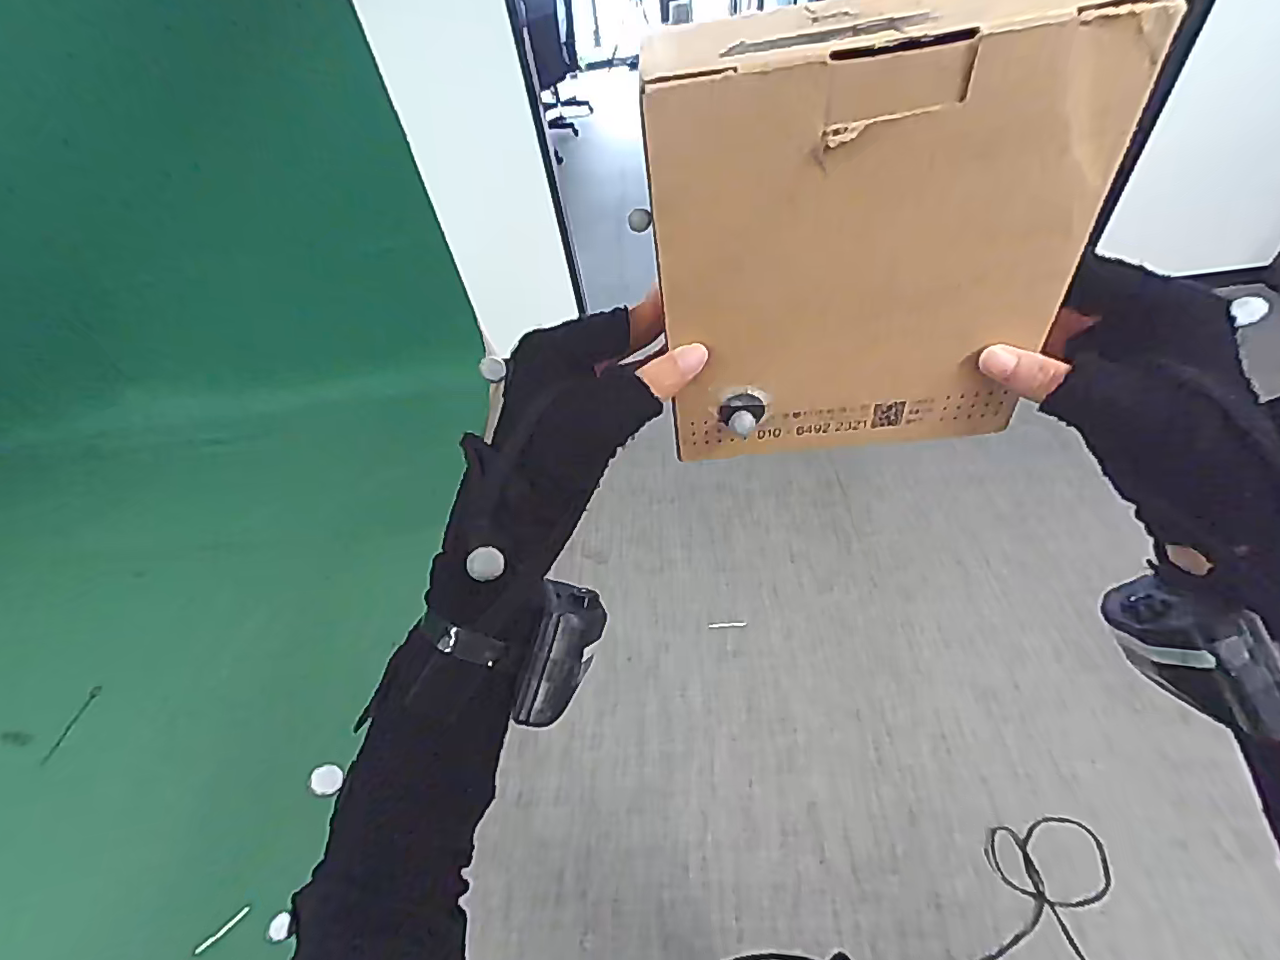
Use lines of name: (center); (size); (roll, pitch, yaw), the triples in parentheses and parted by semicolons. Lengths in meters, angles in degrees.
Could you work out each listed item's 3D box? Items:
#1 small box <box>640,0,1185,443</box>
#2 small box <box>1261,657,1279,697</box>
small box: (0.093, -0.131, 0.280); (0.168, 0.176, 0.179); (-5, 43, 5)
small box: (1.583, 0.457, 1.201); (0.179, 0.176, 0.168); (-5, 46, 6)
